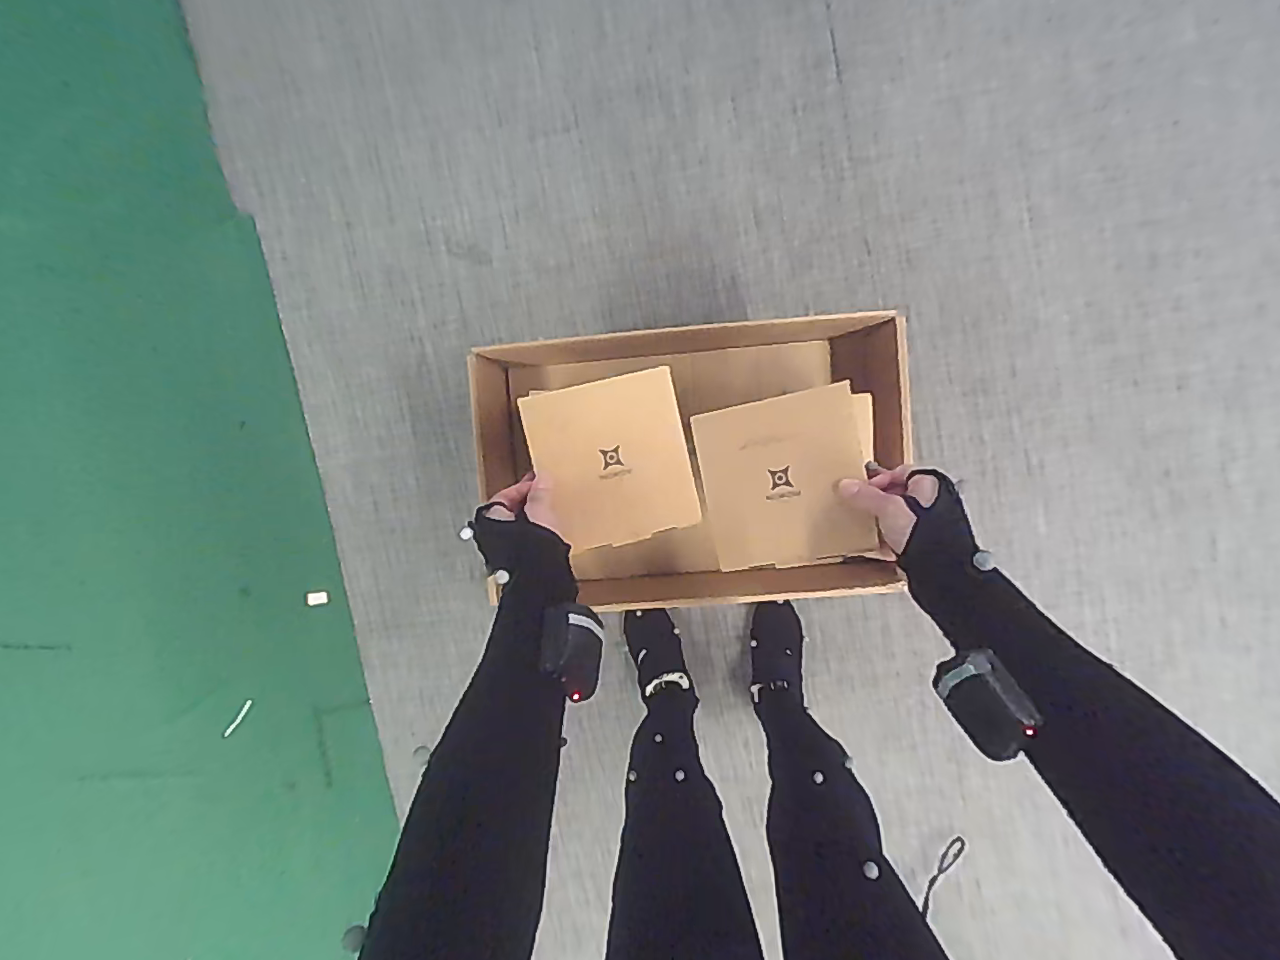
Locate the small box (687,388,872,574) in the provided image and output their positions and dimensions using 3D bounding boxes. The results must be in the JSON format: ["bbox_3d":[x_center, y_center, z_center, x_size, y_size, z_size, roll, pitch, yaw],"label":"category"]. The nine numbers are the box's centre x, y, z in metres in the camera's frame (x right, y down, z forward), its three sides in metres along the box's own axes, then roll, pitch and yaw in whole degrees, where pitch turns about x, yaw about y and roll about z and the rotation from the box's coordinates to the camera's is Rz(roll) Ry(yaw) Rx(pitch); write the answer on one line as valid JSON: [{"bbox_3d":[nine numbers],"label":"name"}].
[{"bbox_3d":[0.168,-0.002,0.635,0.168,0.176,0.179,-11,91,20],"label":"small box"}]
